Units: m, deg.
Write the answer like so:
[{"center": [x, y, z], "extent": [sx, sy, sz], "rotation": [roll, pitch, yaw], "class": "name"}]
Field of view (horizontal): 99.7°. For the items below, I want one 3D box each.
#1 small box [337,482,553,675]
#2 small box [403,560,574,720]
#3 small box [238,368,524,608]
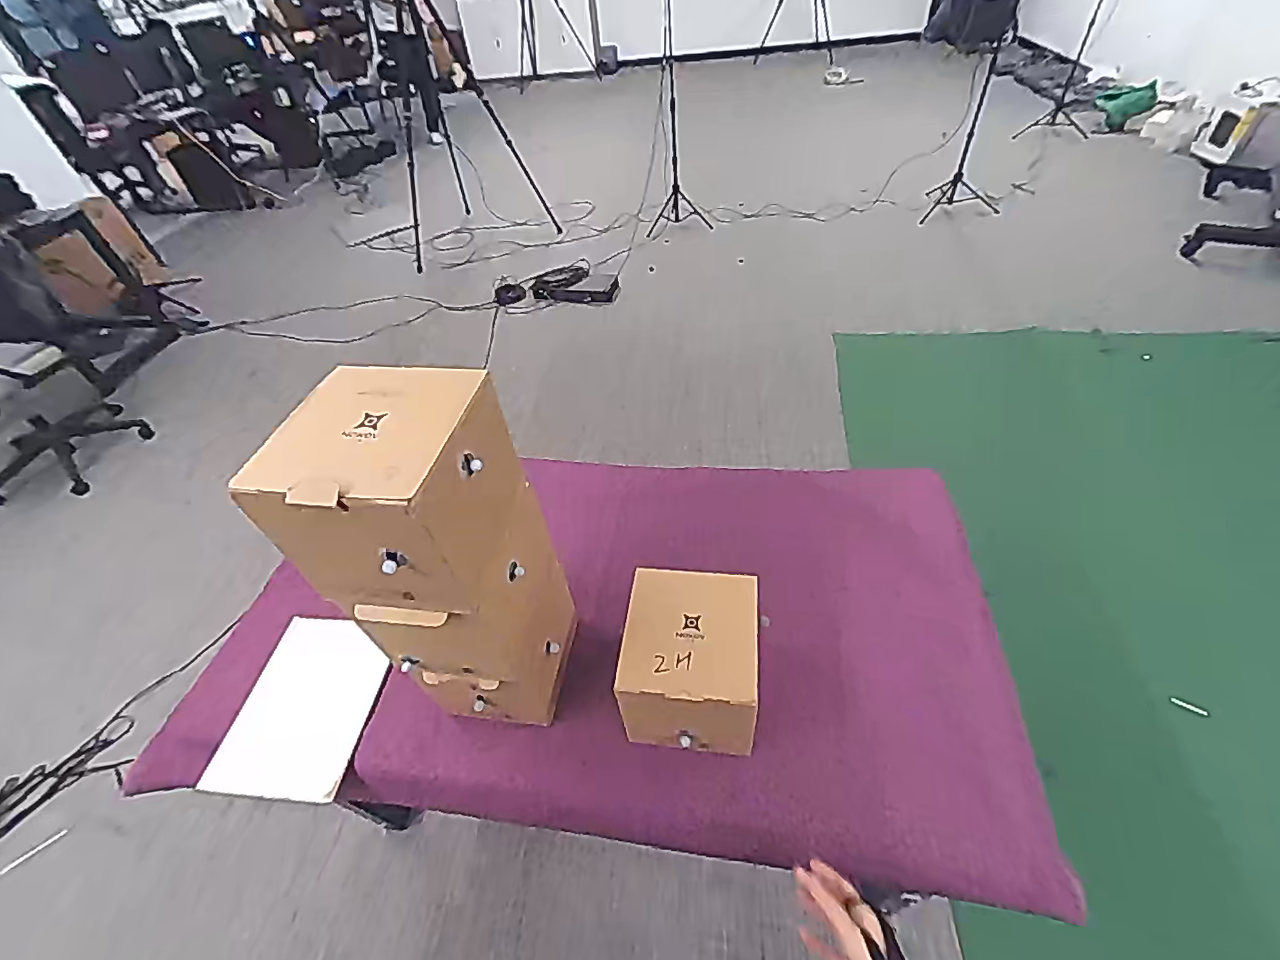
[{"center": [-0.216, 0.118, 0.662], "extent": [0.168, 0.176, 0.179], "rotation": [3, 46, 10], "class": "small box"}, {"center": [-0.202, 0.228, 0.784], "extent": [0.168, 0.176, 0.179], "rotation": [3, 47, 9], "class": "small box"}, {"center": [-0.231, 0.008, 0.542], "extent": [0.168, 0.176, 0.179], "rotation": [4, 46, 10], "class": "small box"}]
